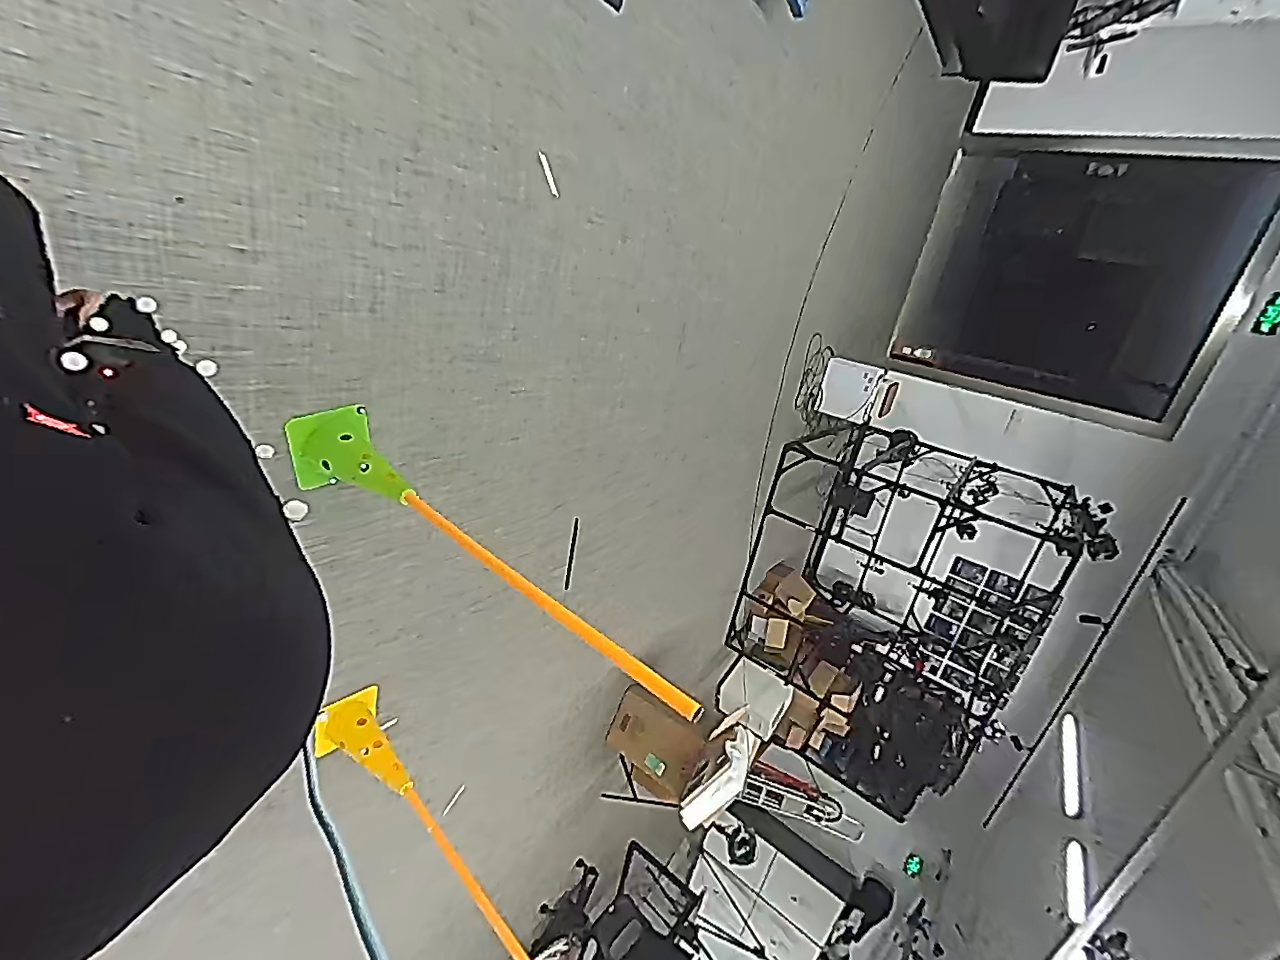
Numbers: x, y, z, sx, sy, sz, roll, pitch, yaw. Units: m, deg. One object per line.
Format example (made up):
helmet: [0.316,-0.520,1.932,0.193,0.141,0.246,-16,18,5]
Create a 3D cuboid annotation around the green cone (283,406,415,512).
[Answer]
green cone: [-0.676,-0.017,1.325,0.200,0.368,0.202,-28,135,-46]
